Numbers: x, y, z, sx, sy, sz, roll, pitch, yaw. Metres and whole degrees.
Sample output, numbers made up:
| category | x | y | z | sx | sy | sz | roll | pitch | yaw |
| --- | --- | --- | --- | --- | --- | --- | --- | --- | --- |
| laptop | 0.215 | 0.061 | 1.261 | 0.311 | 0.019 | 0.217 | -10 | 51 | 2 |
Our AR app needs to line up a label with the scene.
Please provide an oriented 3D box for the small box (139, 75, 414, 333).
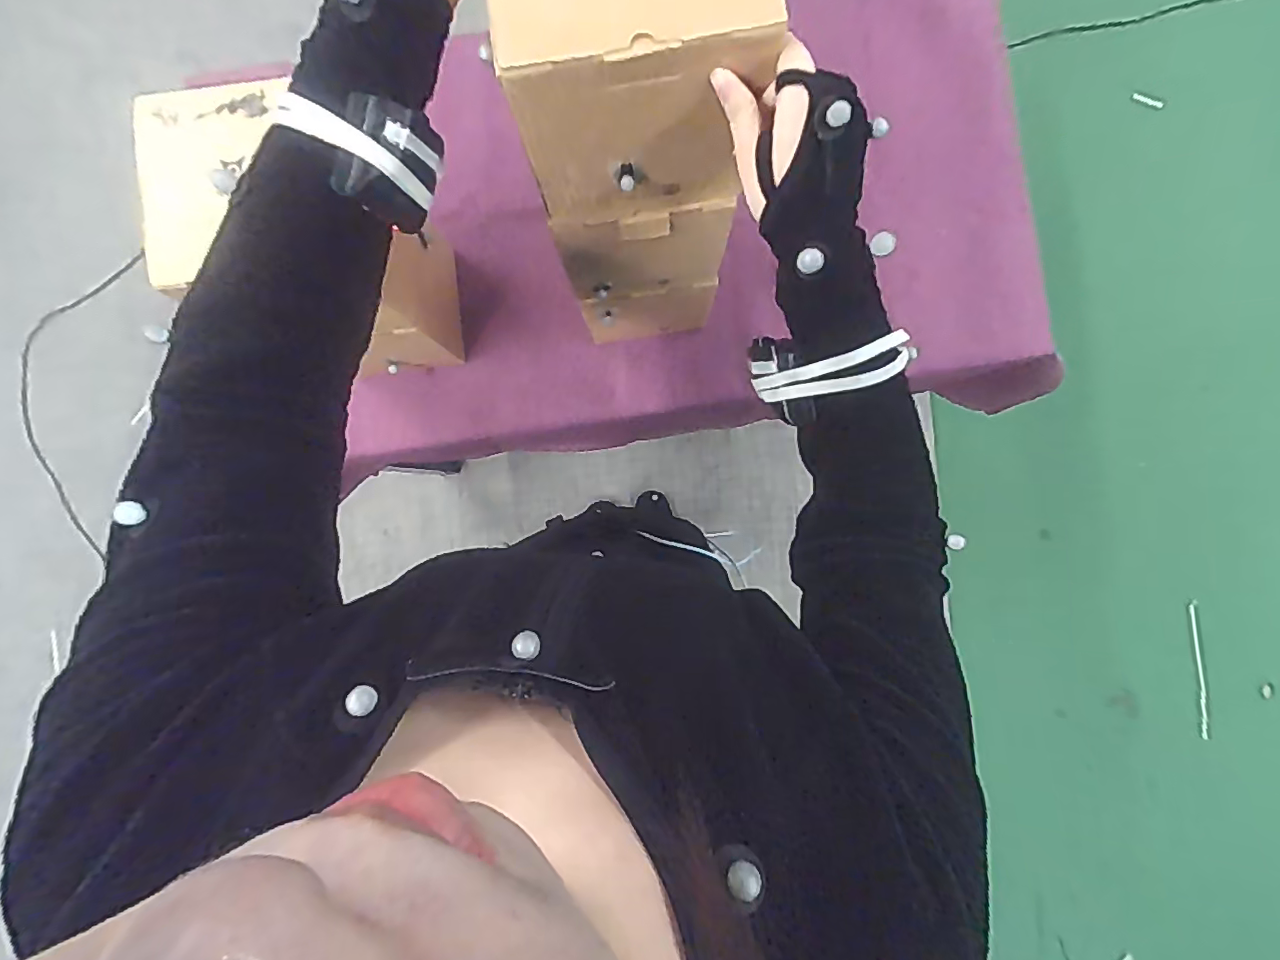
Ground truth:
| category | x | y | z | sx | sy | sz | roll | pitch | yaw |
| --- | --- | --- | --- | --- | --- | --- | --- | --- | --- |
| small box | -0.348 | -0.258 | 0.551 | 0.168 | 0.176 | 0.179 | -6 | 89 | 0 |

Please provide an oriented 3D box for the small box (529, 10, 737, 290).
| category | x | y | z | sx | sy | sz | roll | pitch | yaw |
| --- | --- | --- | --- | --- | --- | --- | --- | --- | --- |
| small box | -0.004 | -0.308 | 0.546 | 0.168 | 0.176 | 0.179 | -8 | 87 | 1 |

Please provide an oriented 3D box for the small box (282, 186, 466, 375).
| category | x | y | z | sx | sy | sz | roll | pitch | yaw |
| --- | --- | --- | --- | --- | --- | --- | --- | --- | --- |
| small box | -0.344 | -0.251 | 0.716 | 0.168 | 0.176 | 0.179 | -7 | 88 | 1 |
